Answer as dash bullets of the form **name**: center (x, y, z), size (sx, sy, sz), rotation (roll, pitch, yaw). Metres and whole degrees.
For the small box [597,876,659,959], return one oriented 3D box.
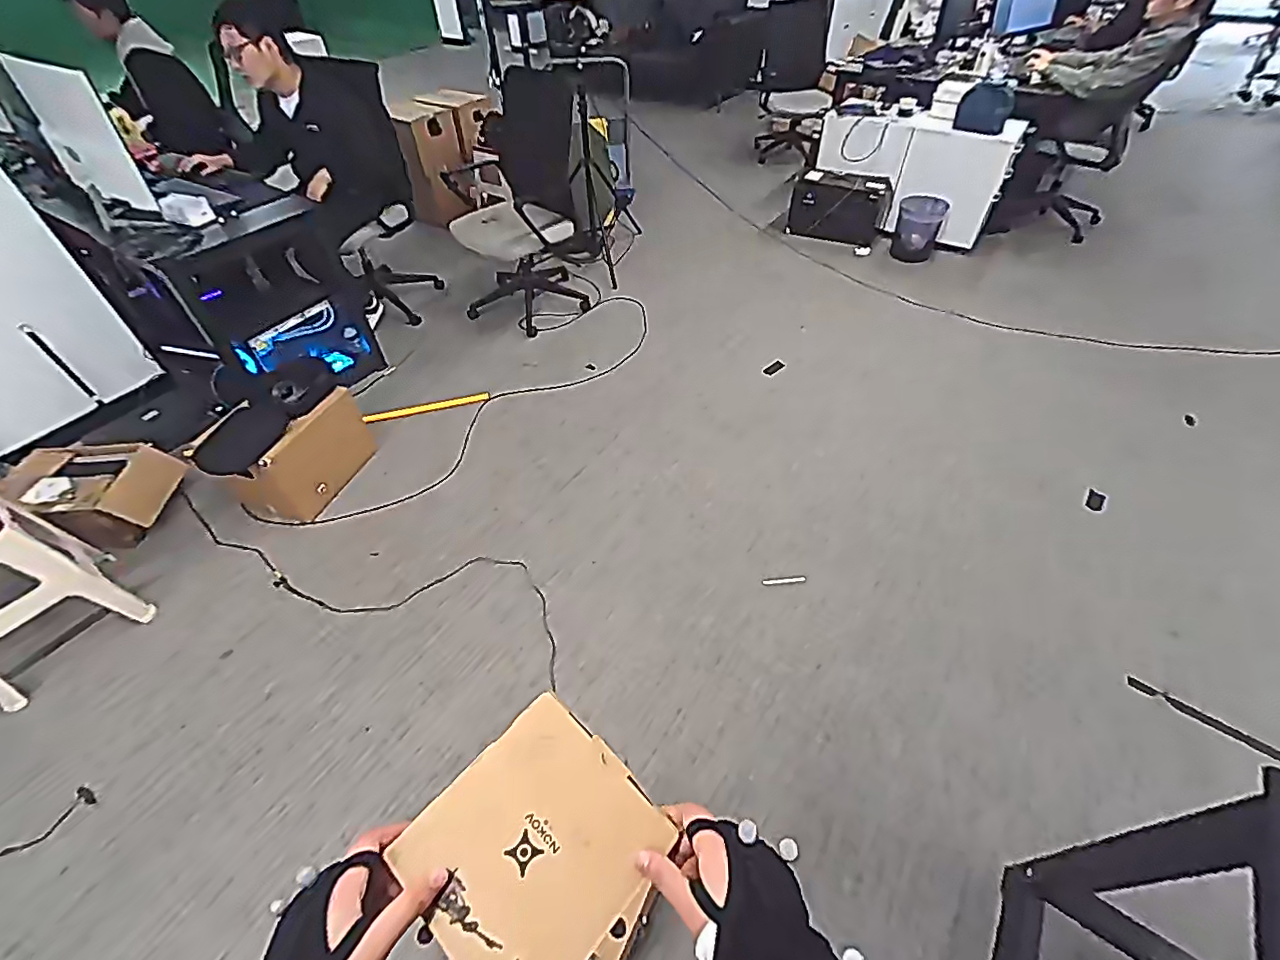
- **small box**: center (-0.069, 0.766, 1.005), size (0.168, 0.176, 0.179), rotation (21, 50, 19)

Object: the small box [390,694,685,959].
- **small box**: center (-0.082, 0.336, 0.493), size (0.168, 0.176, 0.179), rotation (37, 62, 22)
